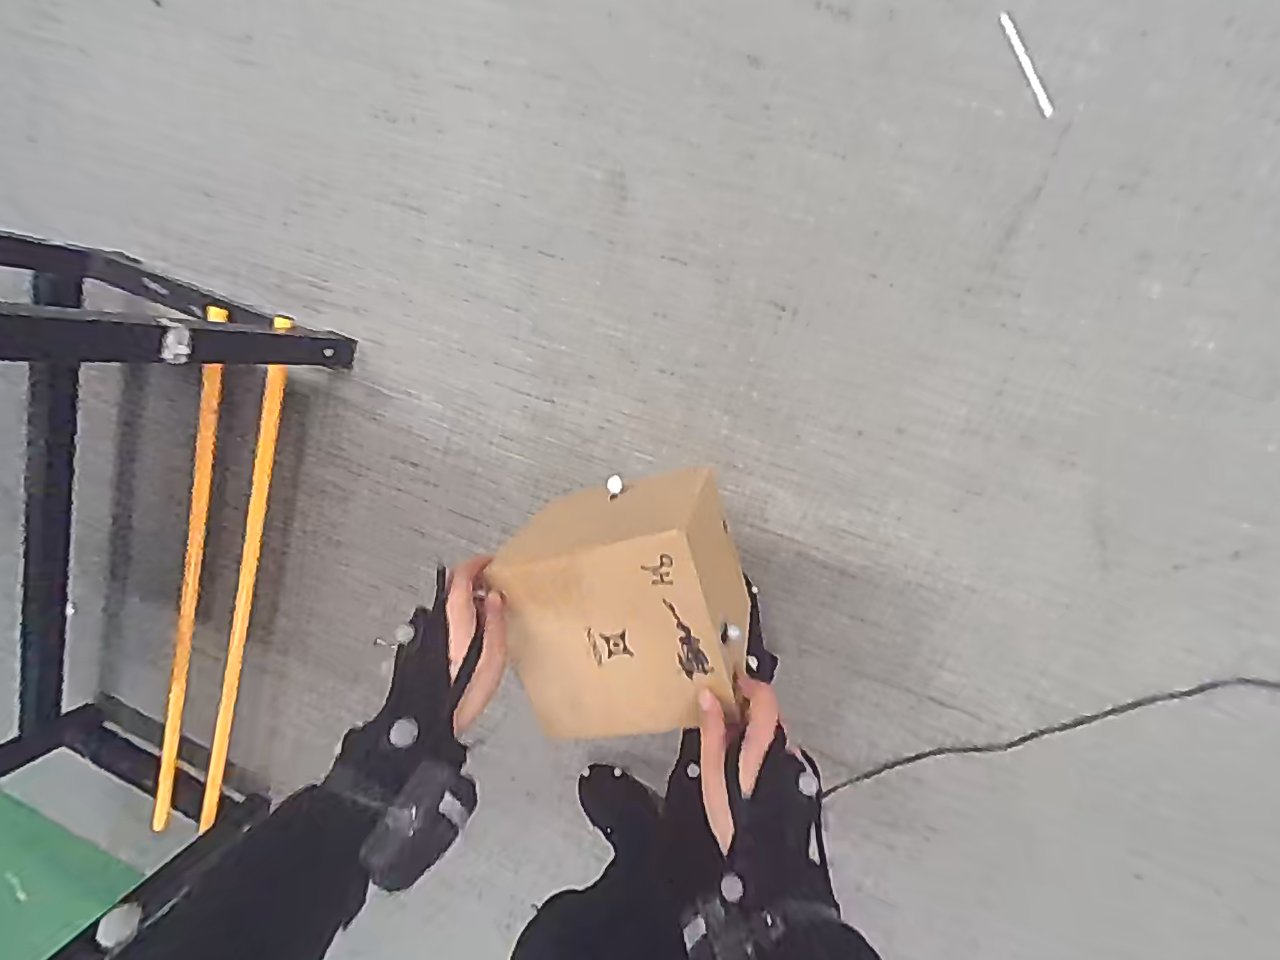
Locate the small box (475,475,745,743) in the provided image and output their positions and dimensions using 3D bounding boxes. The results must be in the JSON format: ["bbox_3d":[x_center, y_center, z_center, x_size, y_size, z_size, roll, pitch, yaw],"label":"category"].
[{"bbox_3d":[-0.011,0.108,0.495,0.179,0.176,0.168,-14,103,18],"label":"small box"}]
